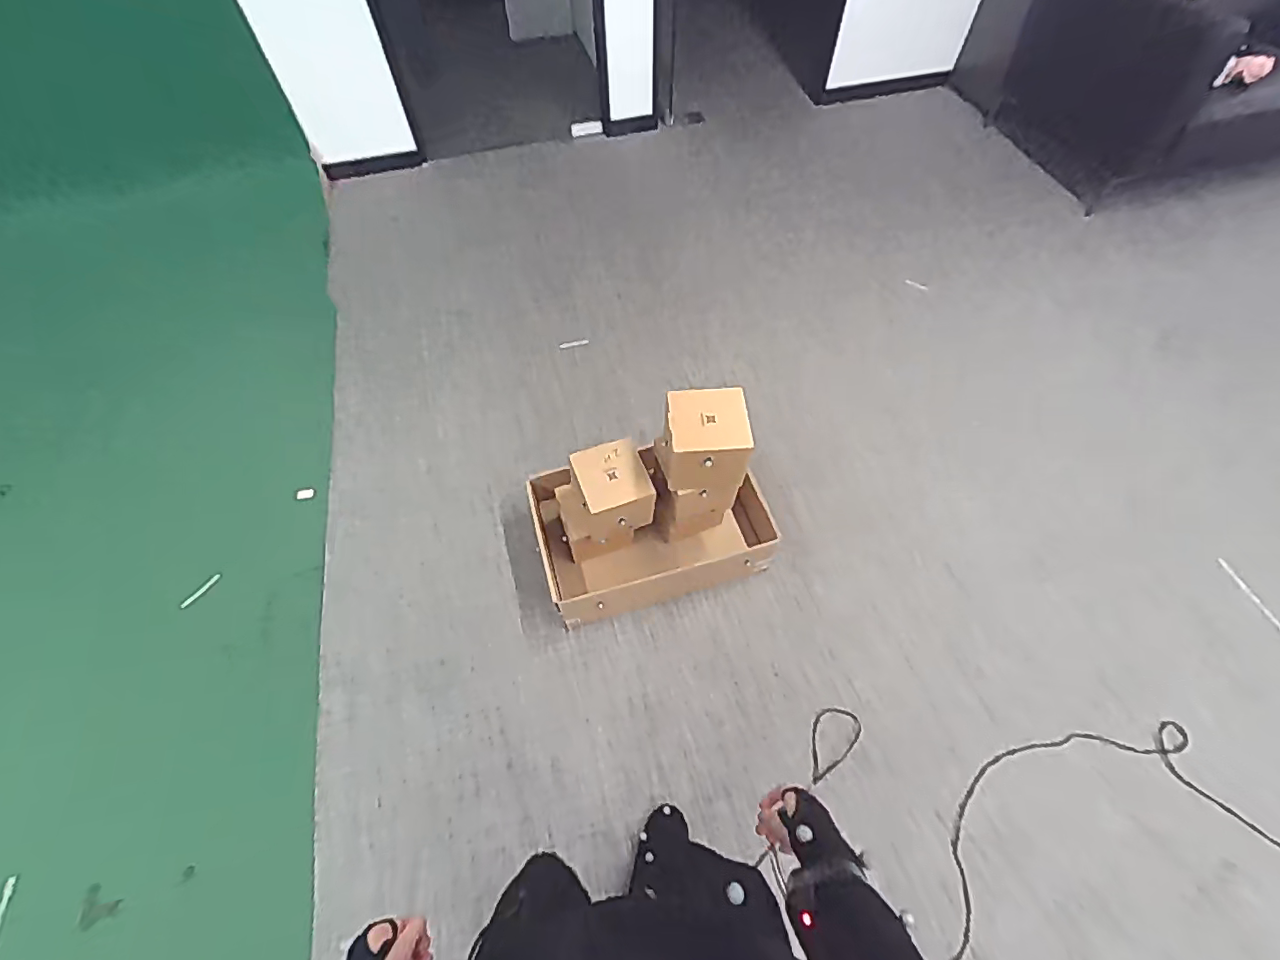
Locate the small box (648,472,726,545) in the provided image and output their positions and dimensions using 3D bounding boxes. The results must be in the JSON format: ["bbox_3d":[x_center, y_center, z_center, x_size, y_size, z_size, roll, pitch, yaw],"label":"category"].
[{"bbox_3d":[0.138,0.062,1.544,0.179,0.176,0.168,-23,60,-10],"label":"small box"}]

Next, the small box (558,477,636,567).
[{"bbox_3d":[-0.116,0.122,1.512,0.179,0.176,0.168,-17,61,-11],"label":"small box"}]

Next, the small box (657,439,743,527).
[{"bbox_3d":[0.147,-0.008,1.392,0.168,0.176,0.179,-18,60,-7],"label":"small box"}]

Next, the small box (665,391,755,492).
[{"bbox_3d":[0.153,-0.084,1.248,0.179,0.176,0.168,-5,60,0],"label":"small box"}]
